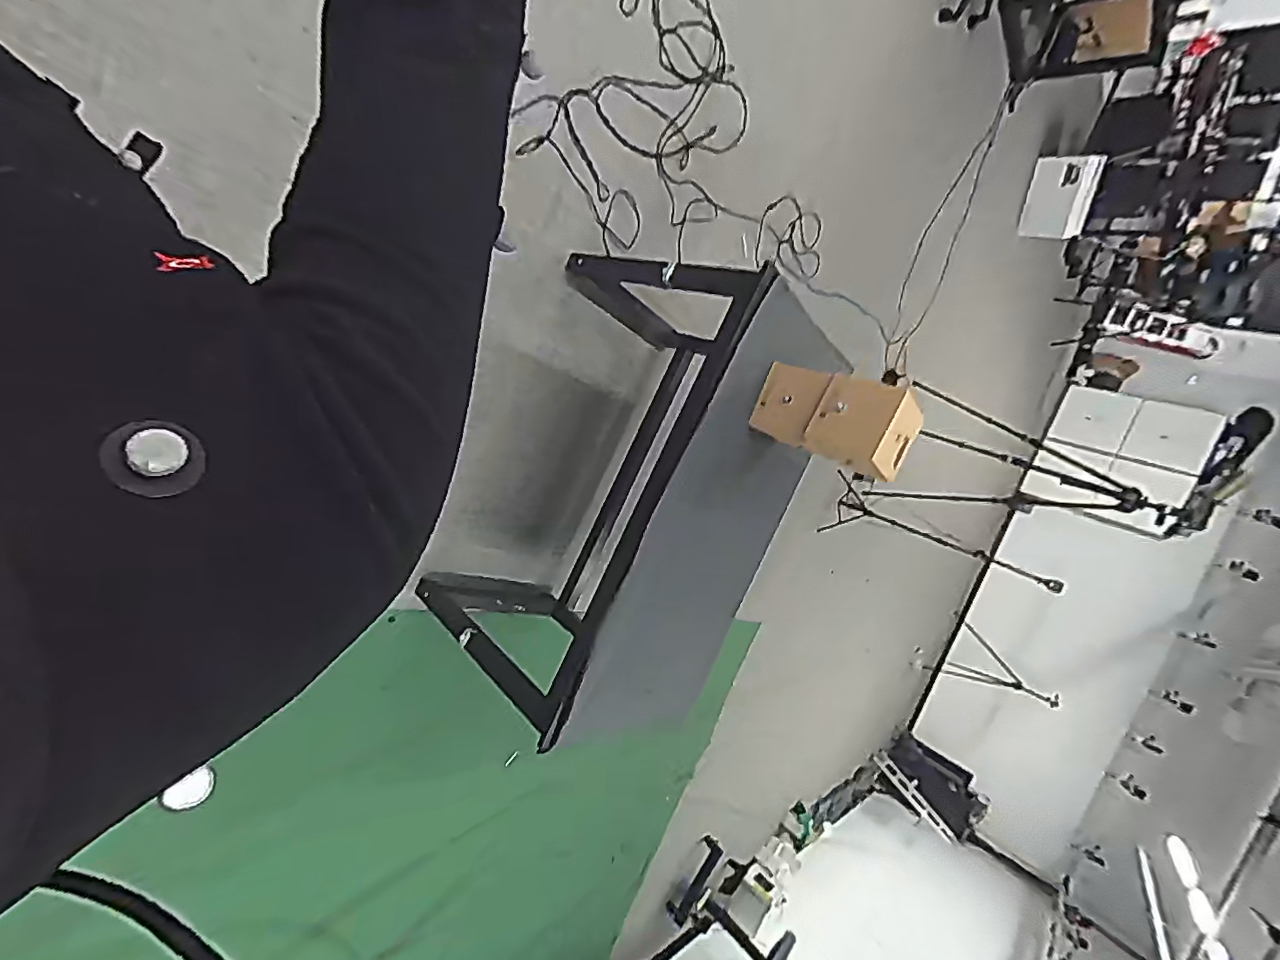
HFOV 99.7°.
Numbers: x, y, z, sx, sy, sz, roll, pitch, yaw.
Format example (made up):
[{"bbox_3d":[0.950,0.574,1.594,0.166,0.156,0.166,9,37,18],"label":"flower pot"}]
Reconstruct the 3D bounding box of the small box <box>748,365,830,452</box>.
[{"bbox_3d":[0.398,-0.176,1.347,0.179,0.176,0.168,14,101,-50],"label":"small box"}]

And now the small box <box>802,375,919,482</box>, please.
[{"bbox_3d":[0.500,-0.120,1.229,0.179,0.176,0.168,26,91,-49],"label":"small box"}]
